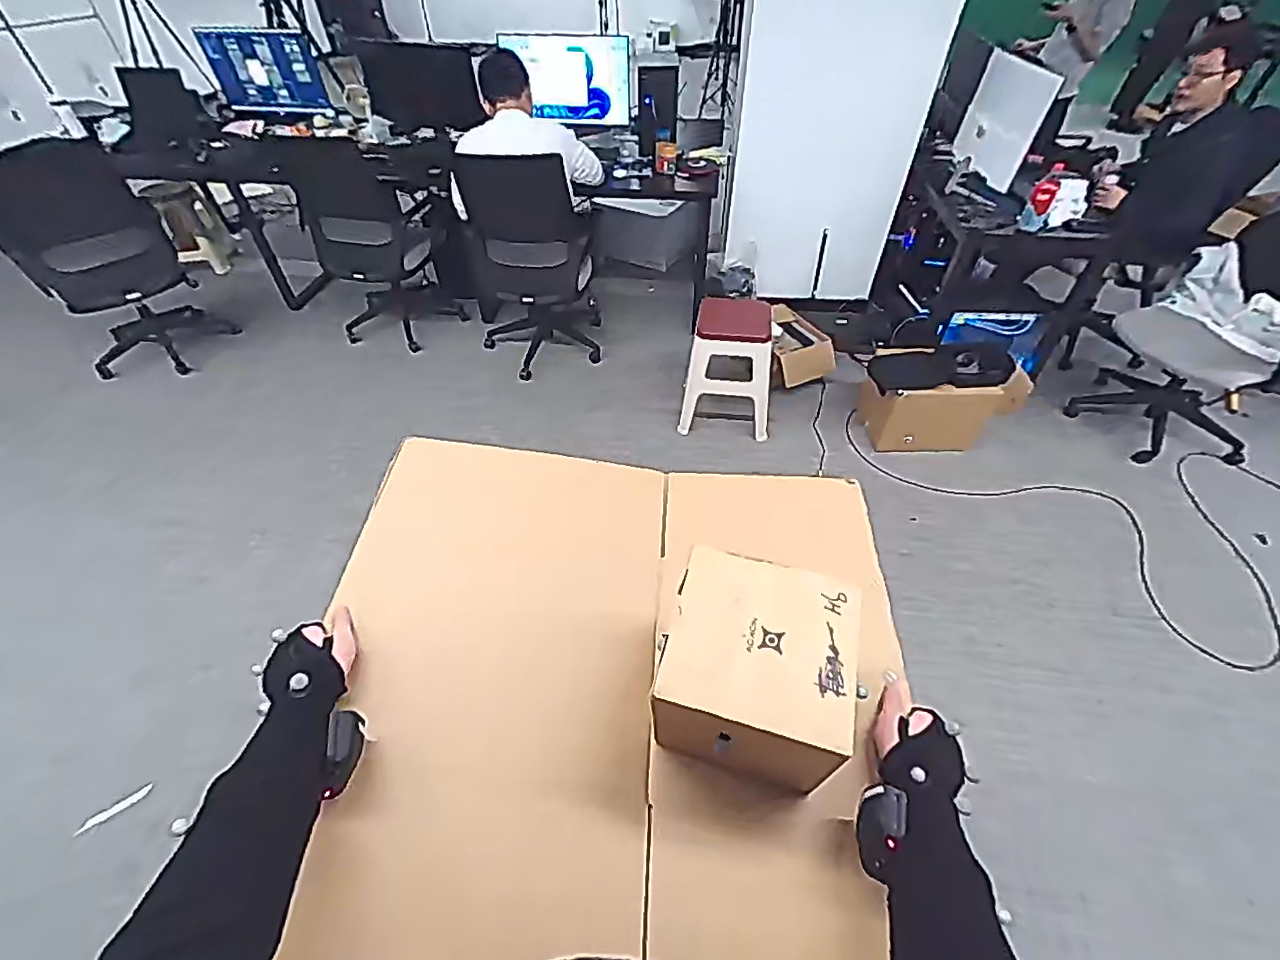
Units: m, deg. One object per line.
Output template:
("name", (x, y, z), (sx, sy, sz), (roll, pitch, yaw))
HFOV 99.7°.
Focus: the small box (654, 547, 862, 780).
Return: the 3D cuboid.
("small box", (0.124, 0.199, 0.581), (0.179, 0.176, 0.168), (12, 53, 14))
